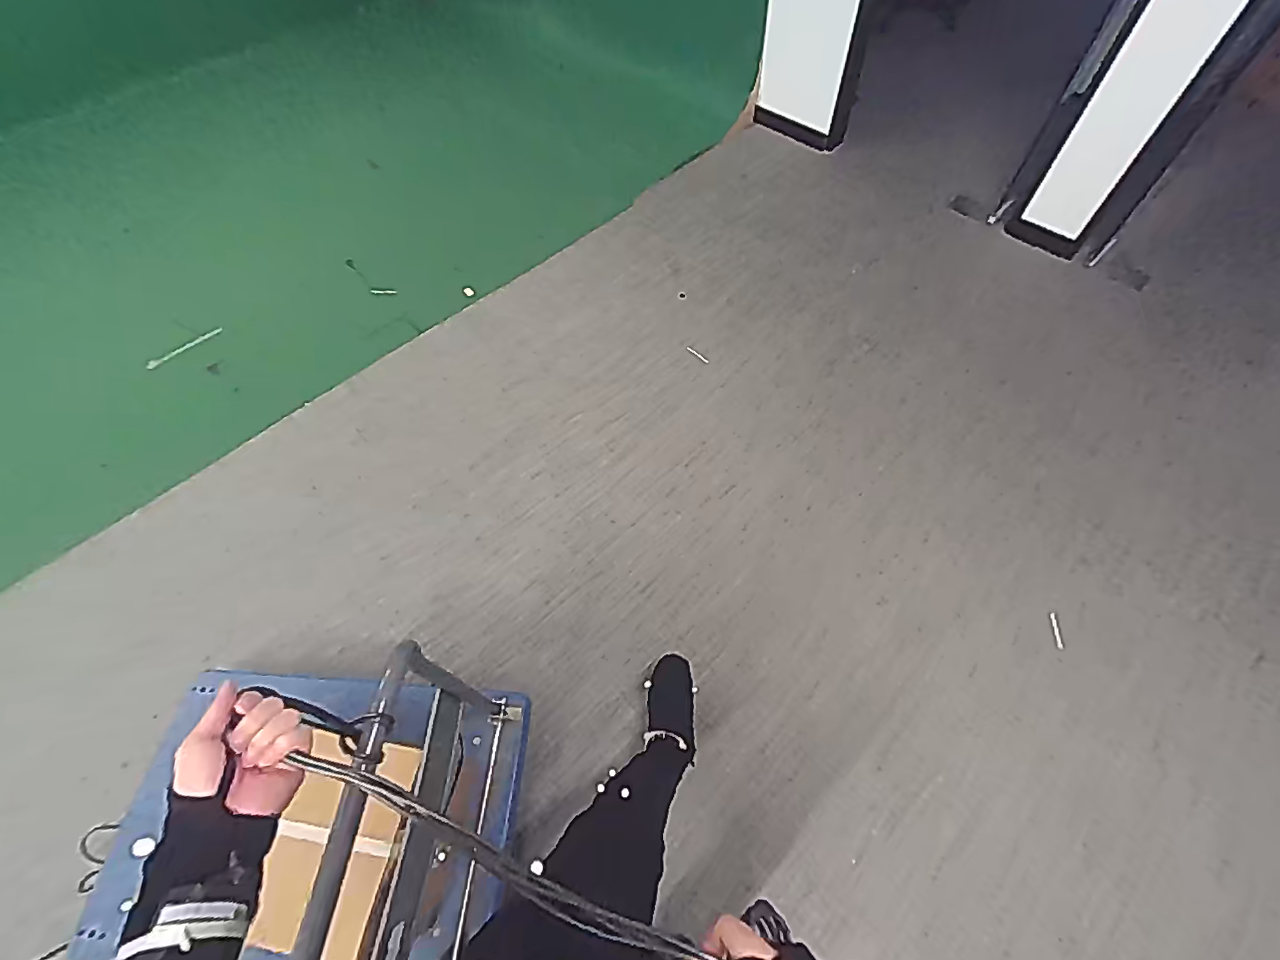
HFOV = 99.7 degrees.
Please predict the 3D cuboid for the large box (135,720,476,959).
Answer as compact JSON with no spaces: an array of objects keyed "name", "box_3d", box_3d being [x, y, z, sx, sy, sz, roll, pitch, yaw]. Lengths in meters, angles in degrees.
[{"name":"large box","box_3d":[-0.591,0.675,1.050,0.408,0.320,0.320,6,60,8]}]
